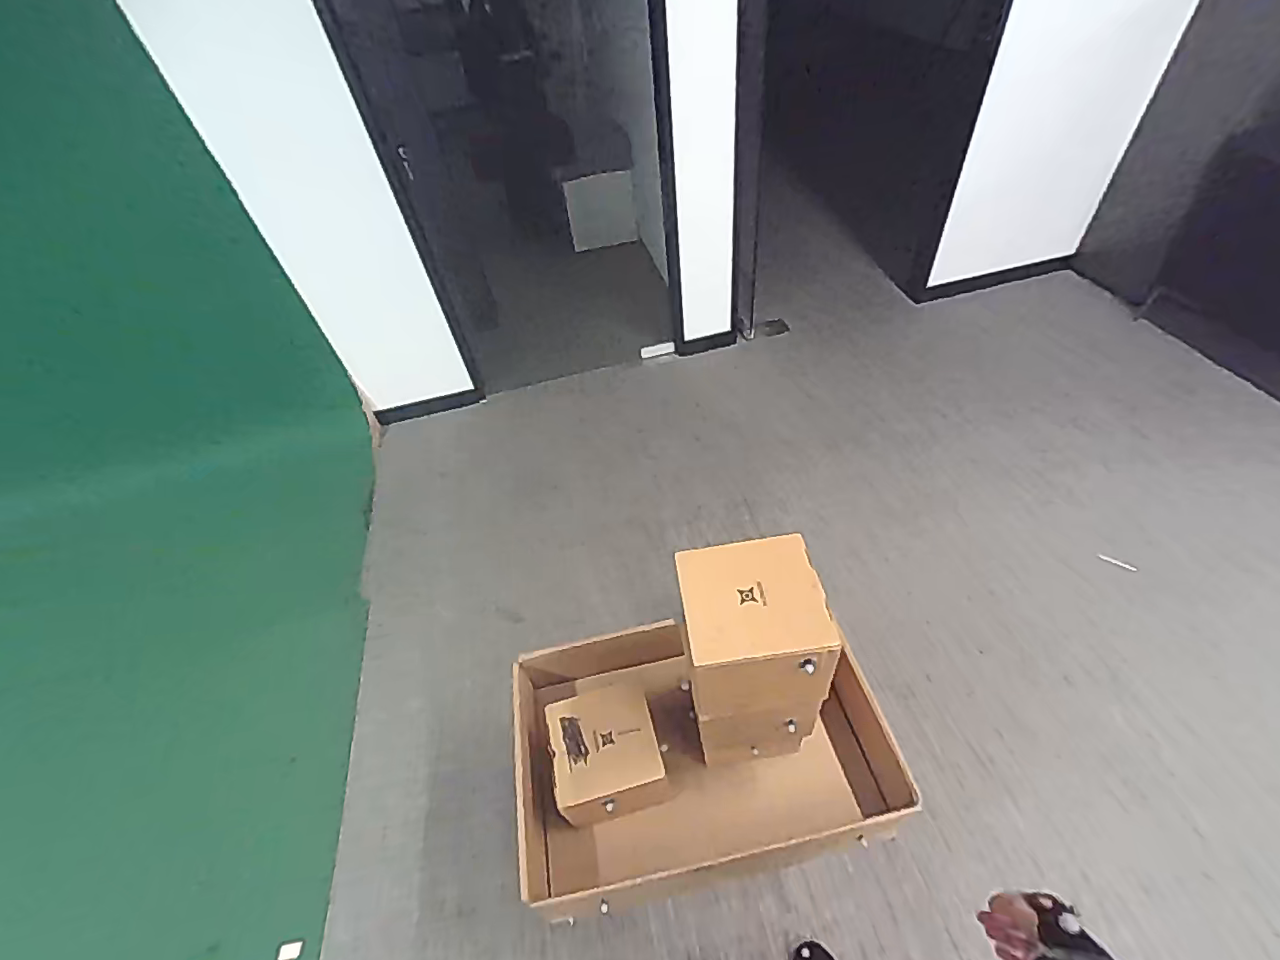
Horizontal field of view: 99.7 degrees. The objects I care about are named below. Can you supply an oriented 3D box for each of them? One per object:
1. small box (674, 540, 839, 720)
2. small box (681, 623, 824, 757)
[{"bbox_3d":[0.149,0.206,0.730,0.179,0.176,0.168,-9,47,2],"label":"small box"},{"bbox_3d":[0.168,0.315,0.848,0.179,0.176,0.168,-11,47,2],"label":"small box"}]
